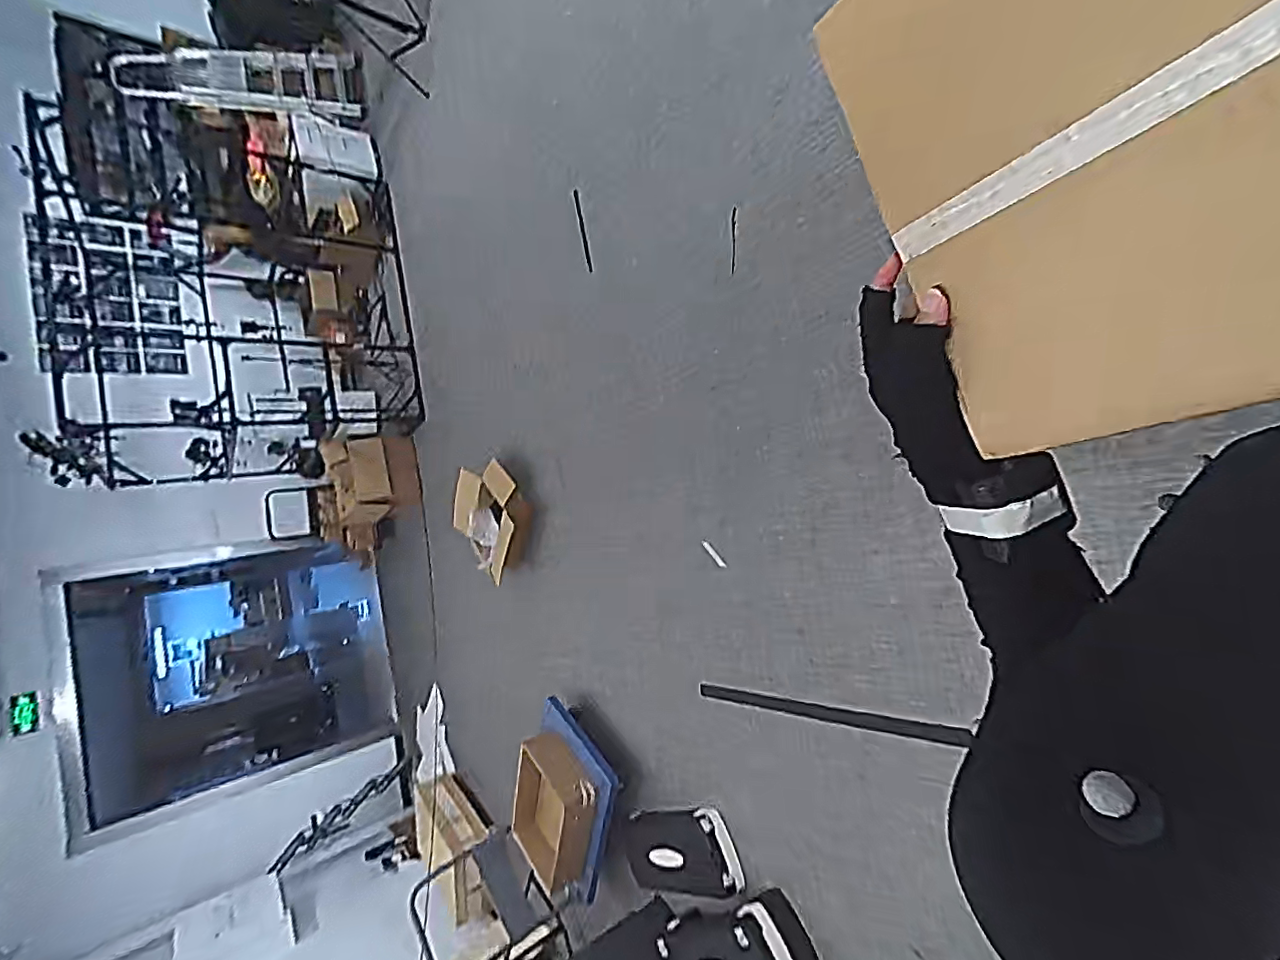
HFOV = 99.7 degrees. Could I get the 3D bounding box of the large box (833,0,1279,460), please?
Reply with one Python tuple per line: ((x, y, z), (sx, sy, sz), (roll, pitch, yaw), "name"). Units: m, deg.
((0.406, -0.243, 0.301), (0.408, 0.320, 0.320), (-20, 92, 54), "large box")
